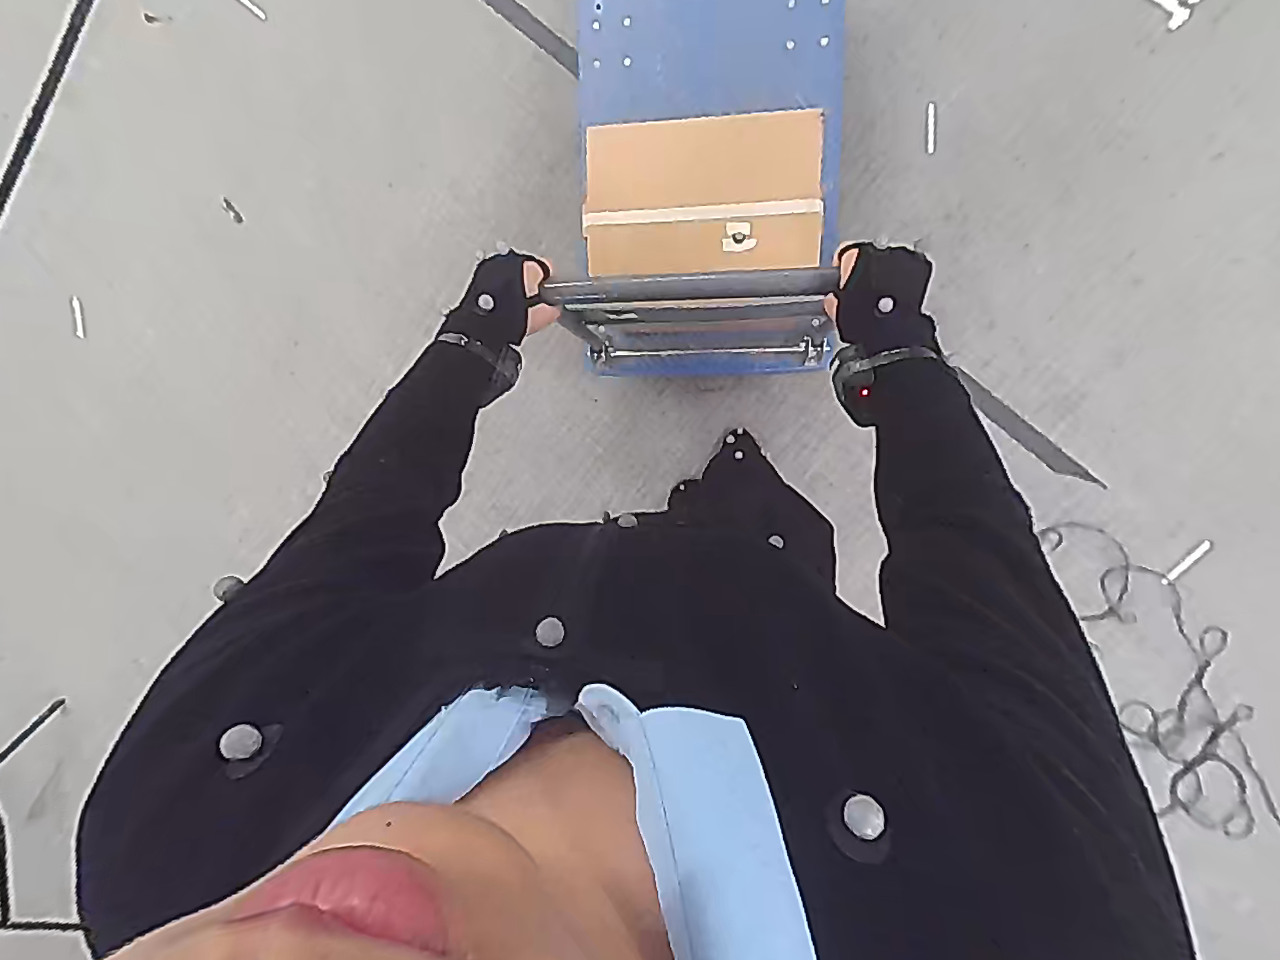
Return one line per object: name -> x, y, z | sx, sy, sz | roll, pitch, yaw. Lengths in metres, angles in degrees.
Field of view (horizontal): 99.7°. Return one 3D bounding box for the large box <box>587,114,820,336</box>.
large box -> 0.122, -0.475, 1.088 | 0.408, 0.320, 0.320 | 1, 98, 7
